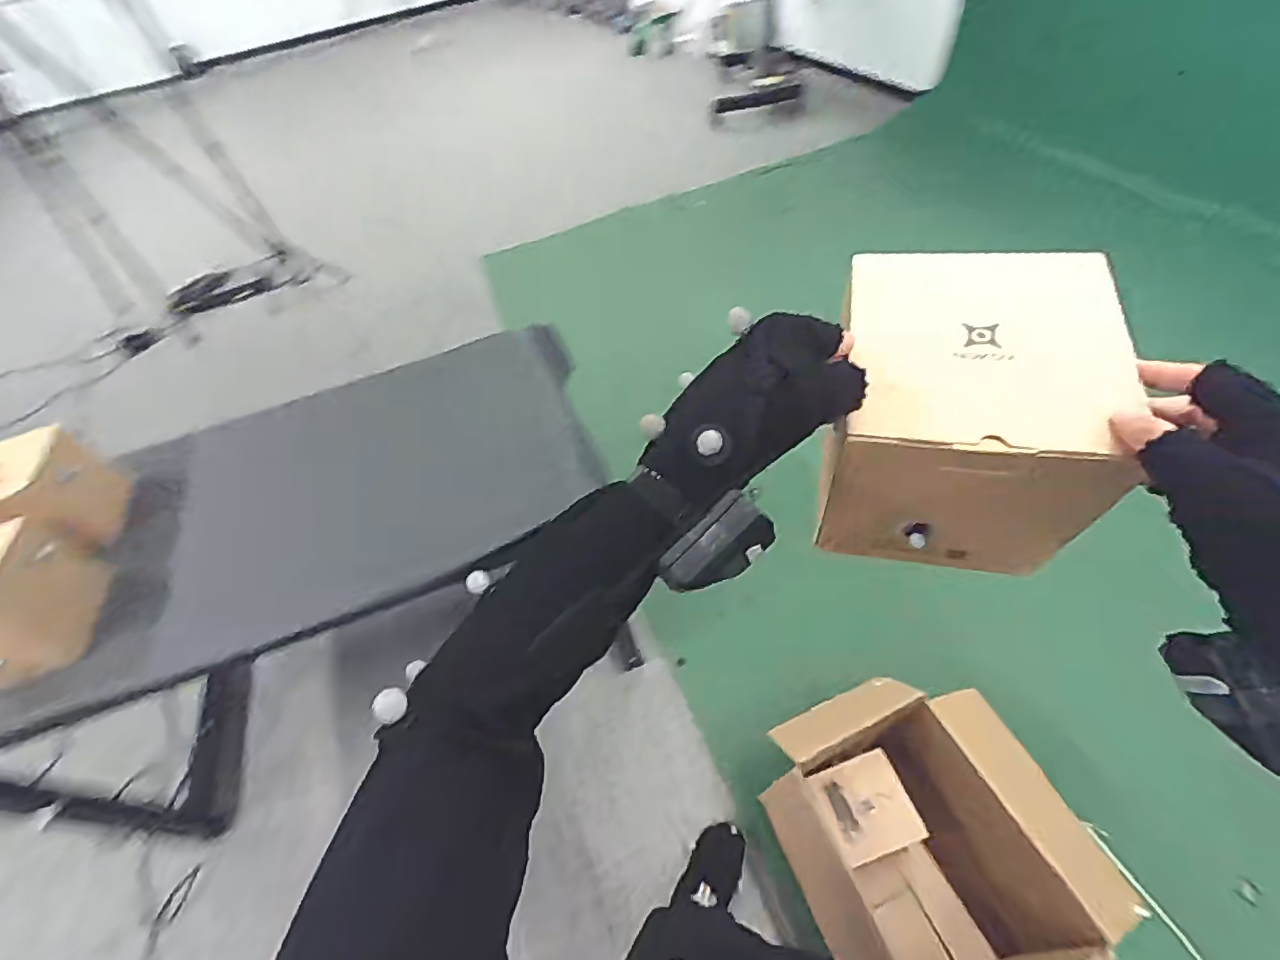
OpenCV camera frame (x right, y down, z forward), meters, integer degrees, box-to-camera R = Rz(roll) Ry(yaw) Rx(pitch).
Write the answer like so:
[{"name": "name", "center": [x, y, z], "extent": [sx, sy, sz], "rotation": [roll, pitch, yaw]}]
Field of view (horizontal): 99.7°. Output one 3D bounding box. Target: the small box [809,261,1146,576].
[{"name": "small box", "center": [0.228, -0.045, 0.423], "extent": [0.168, 0.176, 0.179], "rotation": [5, 60, 14]}]

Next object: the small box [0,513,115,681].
[{"name": "small box", "center": [-0.988, 0.187, 0.842], "extent": [0.168, 0.176, 0.179], "rotation": [-20, 50, -7]}]

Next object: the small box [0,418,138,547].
[{"name": "small box", "center": [-1.080, 0.024, 0.987], "extent": [0.168, 0.176, 0.179], "rotation": [-21, 51, -8]}]
